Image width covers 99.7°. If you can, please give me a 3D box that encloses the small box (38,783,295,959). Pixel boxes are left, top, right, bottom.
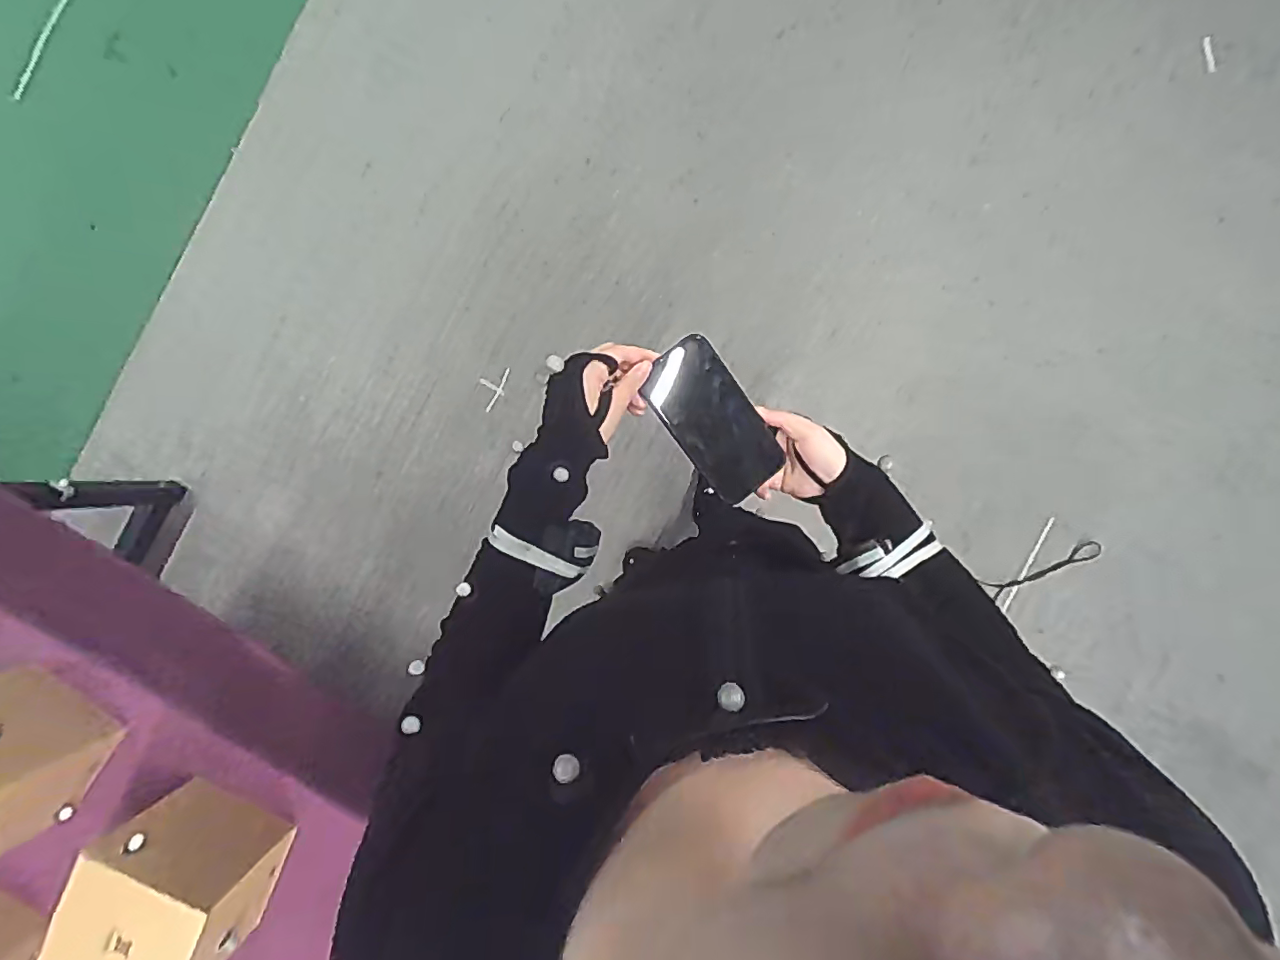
[{"bbox_3d":[-0.610,0.546,0.719,0.179,0.176,0.168,23,91,2],"label":"small box"}]

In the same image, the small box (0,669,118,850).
[{"bbox_3d":[-0.878,0.384,0.723,0.179,0.176,0.168,34,91,2],"label":"small box"}]
